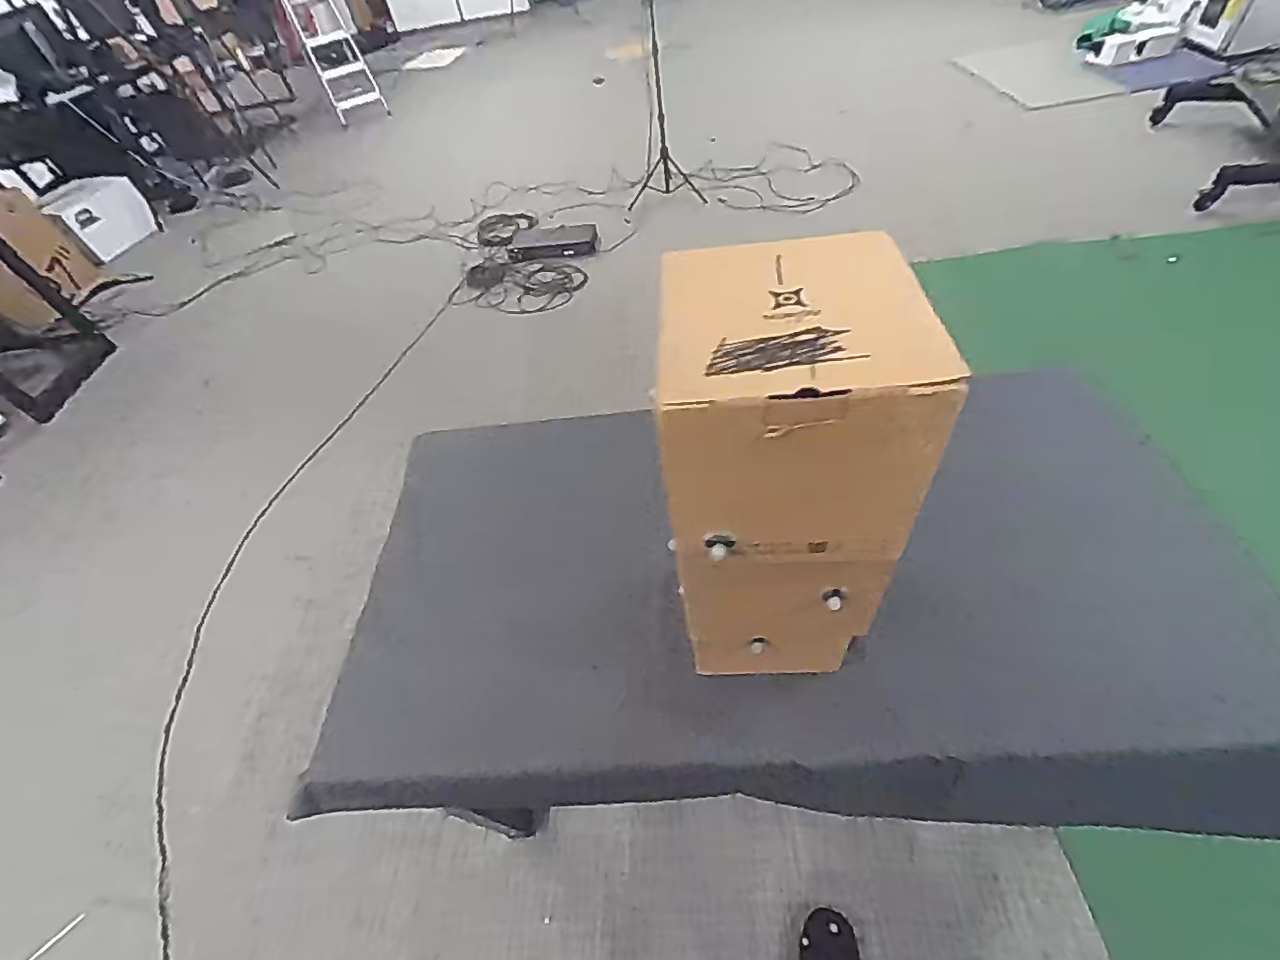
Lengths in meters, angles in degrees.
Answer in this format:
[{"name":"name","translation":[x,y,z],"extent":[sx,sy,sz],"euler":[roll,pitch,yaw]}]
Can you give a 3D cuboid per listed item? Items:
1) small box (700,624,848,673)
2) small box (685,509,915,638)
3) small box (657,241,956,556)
[{"name":"small box","translation":[0.156,0.132,0.682],"extent":[0.179,0.176,0.168],"euler":[-6,48,5]},{"name":"small box","translation":[0.131,0.039,0.526],"extent":[0.179,0.176,0.168],"euler":[-6,49,4]},{"name":"small box","translation":[0.106,-0.053,0.413],"extent":[0.168,0.176,0.179],"euler":[-3,48,7]}]
